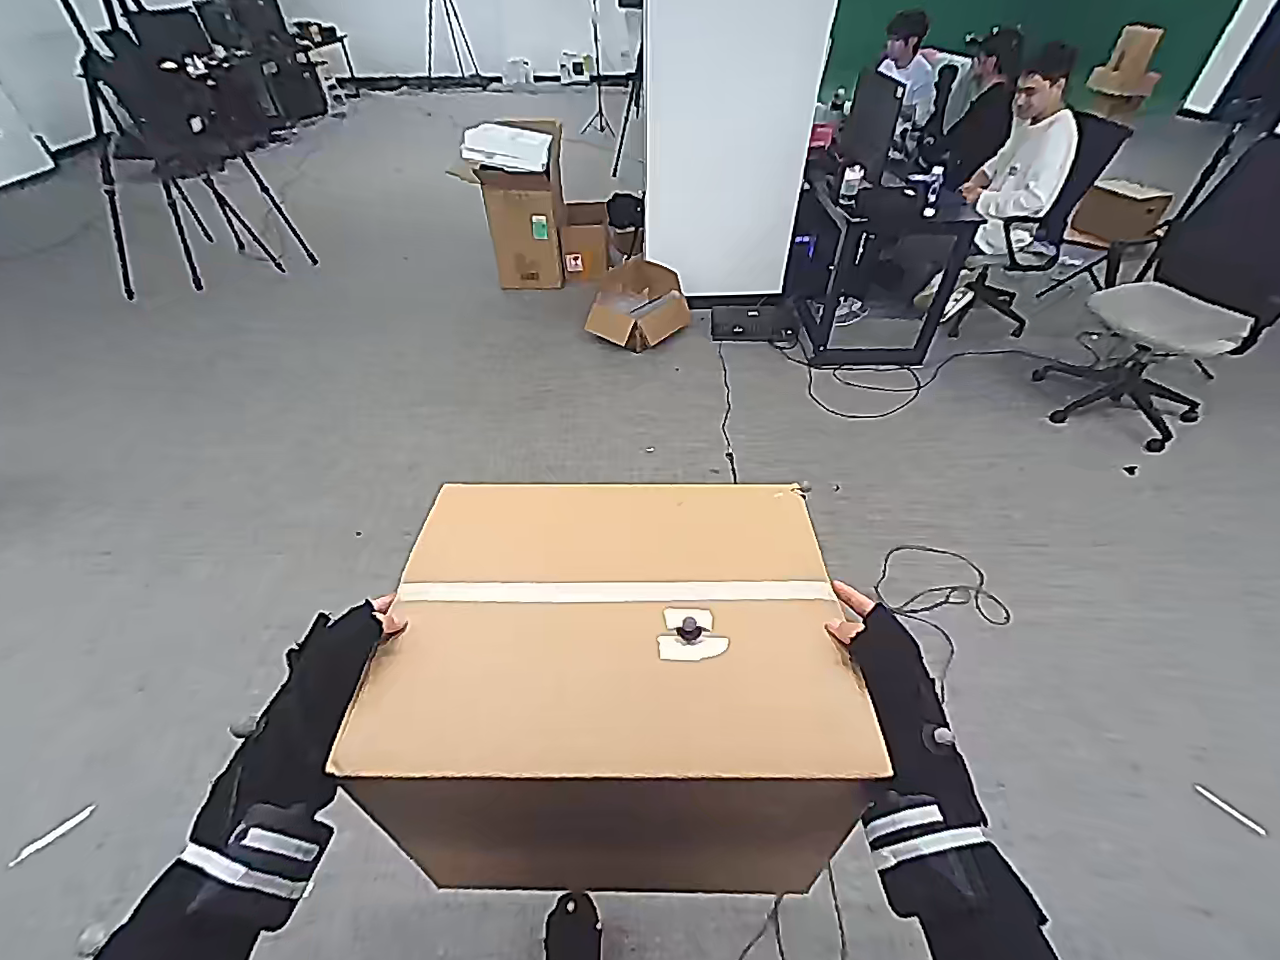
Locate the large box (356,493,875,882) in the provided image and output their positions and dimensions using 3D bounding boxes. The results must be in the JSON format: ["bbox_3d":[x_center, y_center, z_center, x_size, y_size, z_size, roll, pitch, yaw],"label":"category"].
[{"bbox_3d":[-0.020,0.227,0.614,0.408,0.320,0.320,1,41,0],"label":"large box"}]
